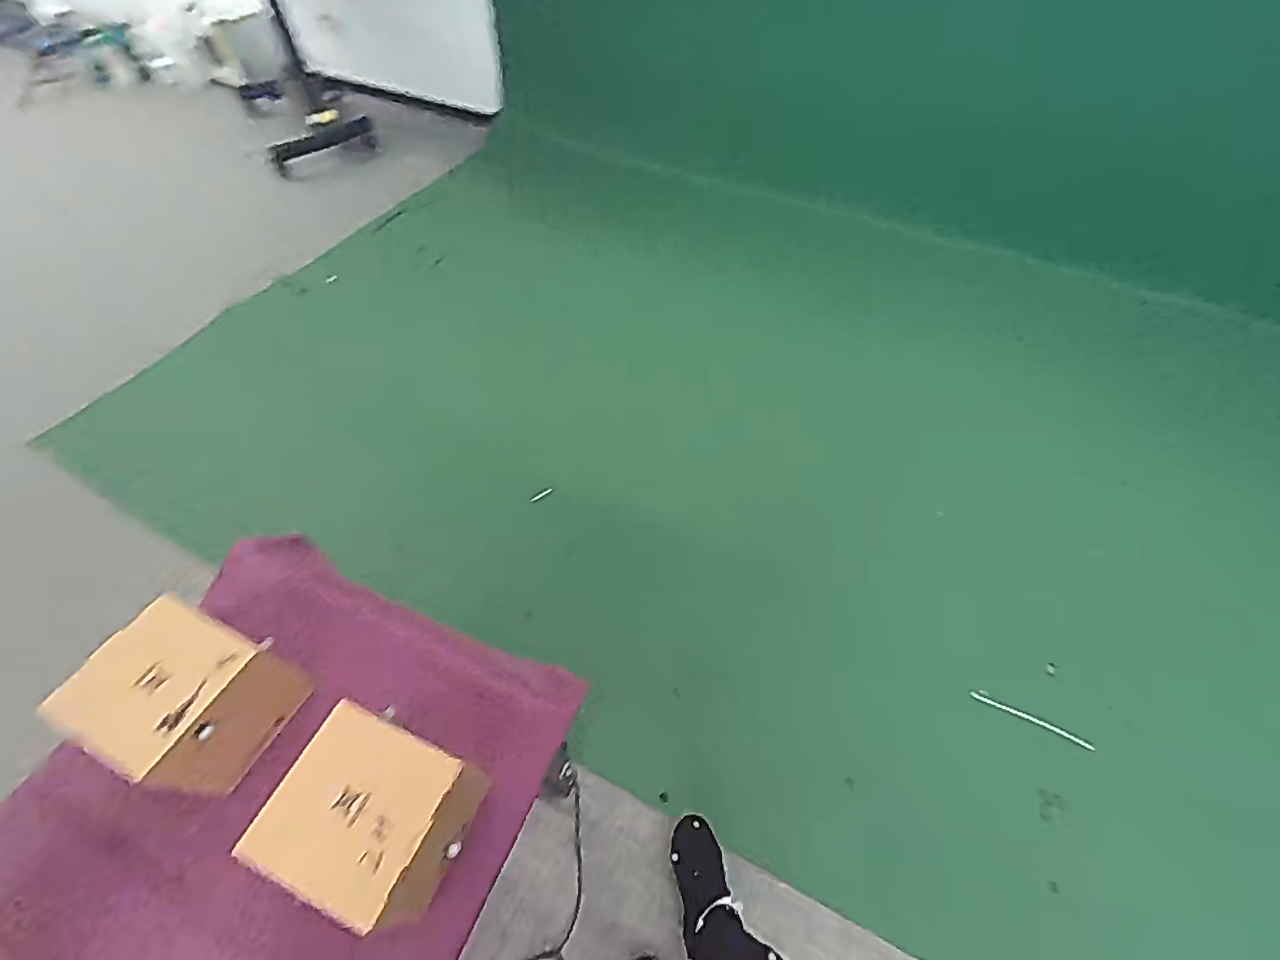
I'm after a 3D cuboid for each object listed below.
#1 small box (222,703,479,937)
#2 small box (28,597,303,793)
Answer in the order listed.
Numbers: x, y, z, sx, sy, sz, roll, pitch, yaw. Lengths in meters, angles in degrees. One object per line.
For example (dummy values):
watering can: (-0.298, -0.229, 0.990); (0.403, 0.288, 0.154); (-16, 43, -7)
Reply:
small box: (-0.321, 0.396, 0.641); (0.179, 0.176, 0.168); (20, 57, 12)
small box: (-0.602, 0.288, 0.713); (0.179, 0.176, 0.168); (22, 57, 13)
